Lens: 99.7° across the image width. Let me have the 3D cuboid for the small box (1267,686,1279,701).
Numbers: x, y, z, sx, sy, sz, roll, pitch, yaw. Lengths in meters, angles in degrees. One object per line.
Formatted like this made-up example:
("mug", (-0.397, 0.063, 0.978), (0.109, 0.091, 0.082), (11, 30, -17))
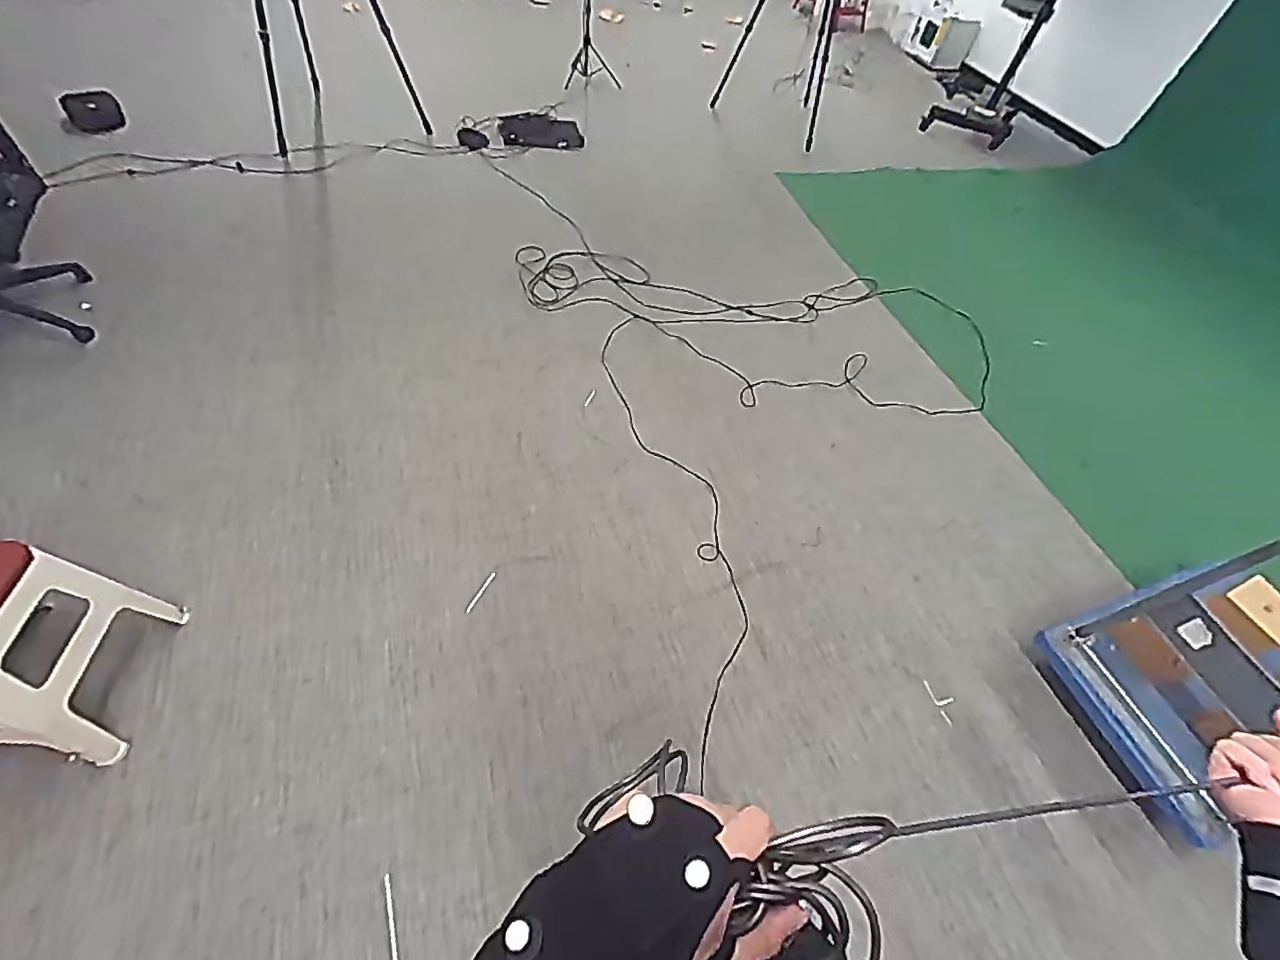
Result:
("small box", (1.880, 0.610, 1.452), (0.179, 0.176, 0.168), (-17, 58, -18))

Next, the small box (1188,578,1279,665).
("small box", (1.778, 0.417, 1.578), (0.179, 0.176, 0.168), (-16, 59, -18))

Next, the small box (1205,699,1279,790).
("small box", (1.627, 0.668, 1.377), (0.179, 0.176, 0.168), (-12, 57, -15))
